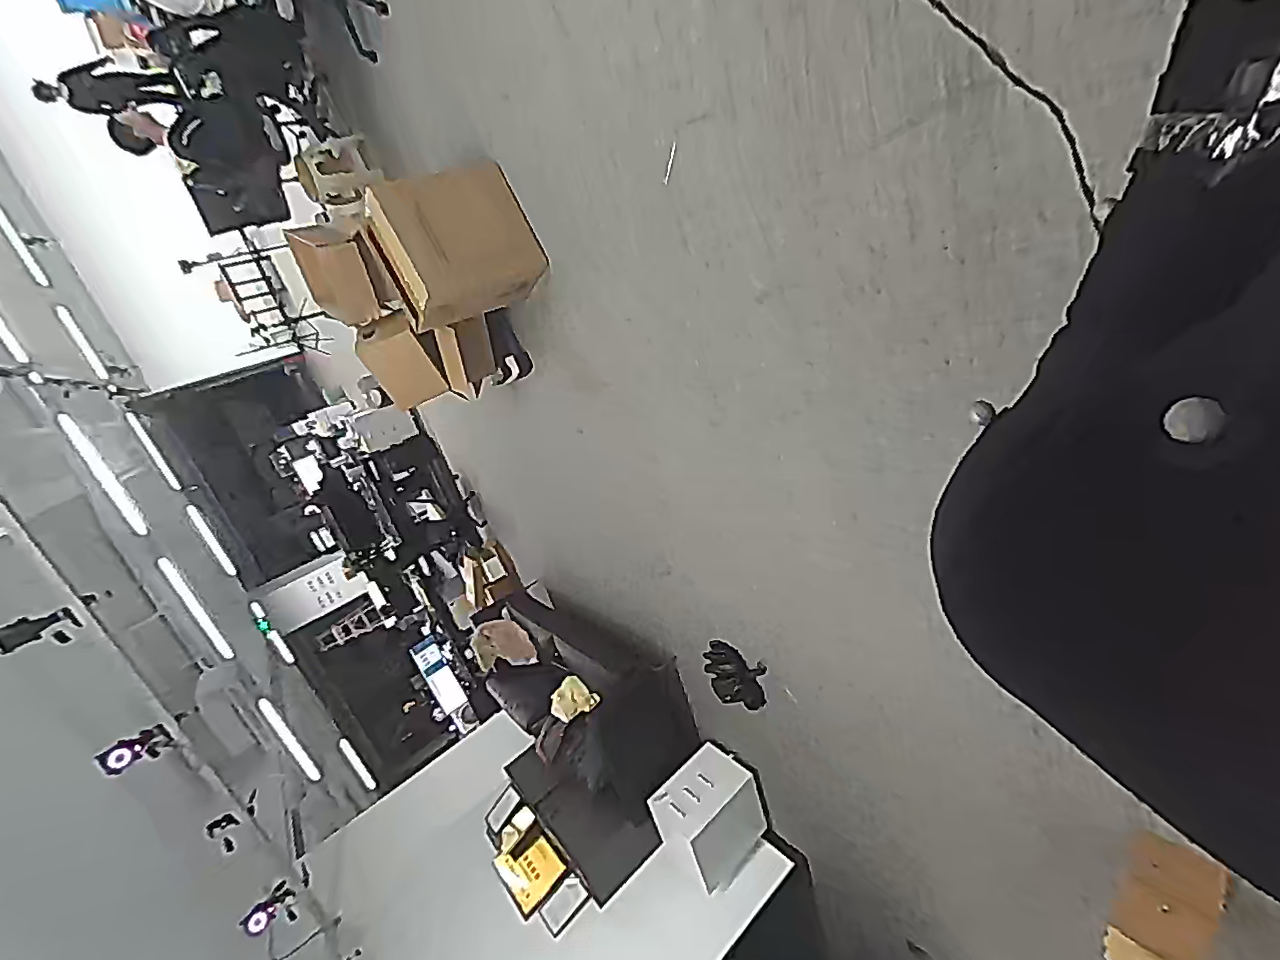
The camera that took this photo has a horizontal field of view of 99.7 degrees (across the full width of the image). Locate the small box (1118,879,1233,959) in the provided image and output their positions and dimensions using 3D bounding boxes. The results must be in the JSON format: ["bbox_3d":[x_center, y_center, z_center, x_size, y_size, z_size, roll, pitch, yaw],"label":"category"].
[{"bbox_3d":[1.389,1.191,1.406,0.179,0.176,0.168,15,129,52],"label":"small box"}]

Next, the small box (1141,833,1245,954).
[{"bbox_3d":[1.514,1.120,1.485,0.179,0.176,0.168,10,125,51],"label":"small box"}]
